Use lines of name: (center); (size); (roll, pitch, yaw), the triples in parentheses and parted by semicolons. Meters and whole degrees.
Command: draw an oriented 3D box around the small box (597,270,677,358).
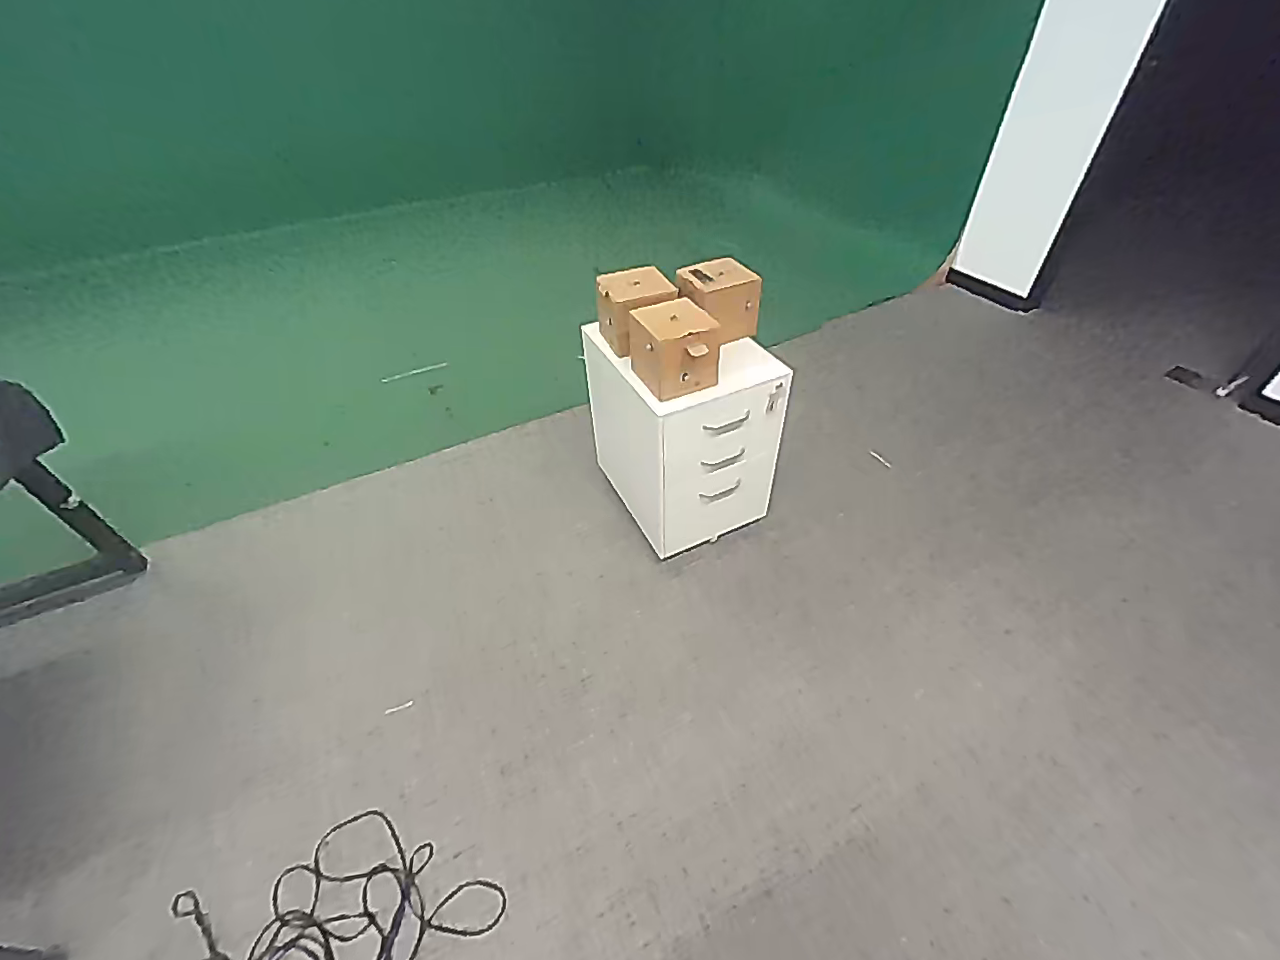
small box: (-0.009, -0.457, 1.499); (0.179, 0.176, 0.168); (-16, 47, -15)
